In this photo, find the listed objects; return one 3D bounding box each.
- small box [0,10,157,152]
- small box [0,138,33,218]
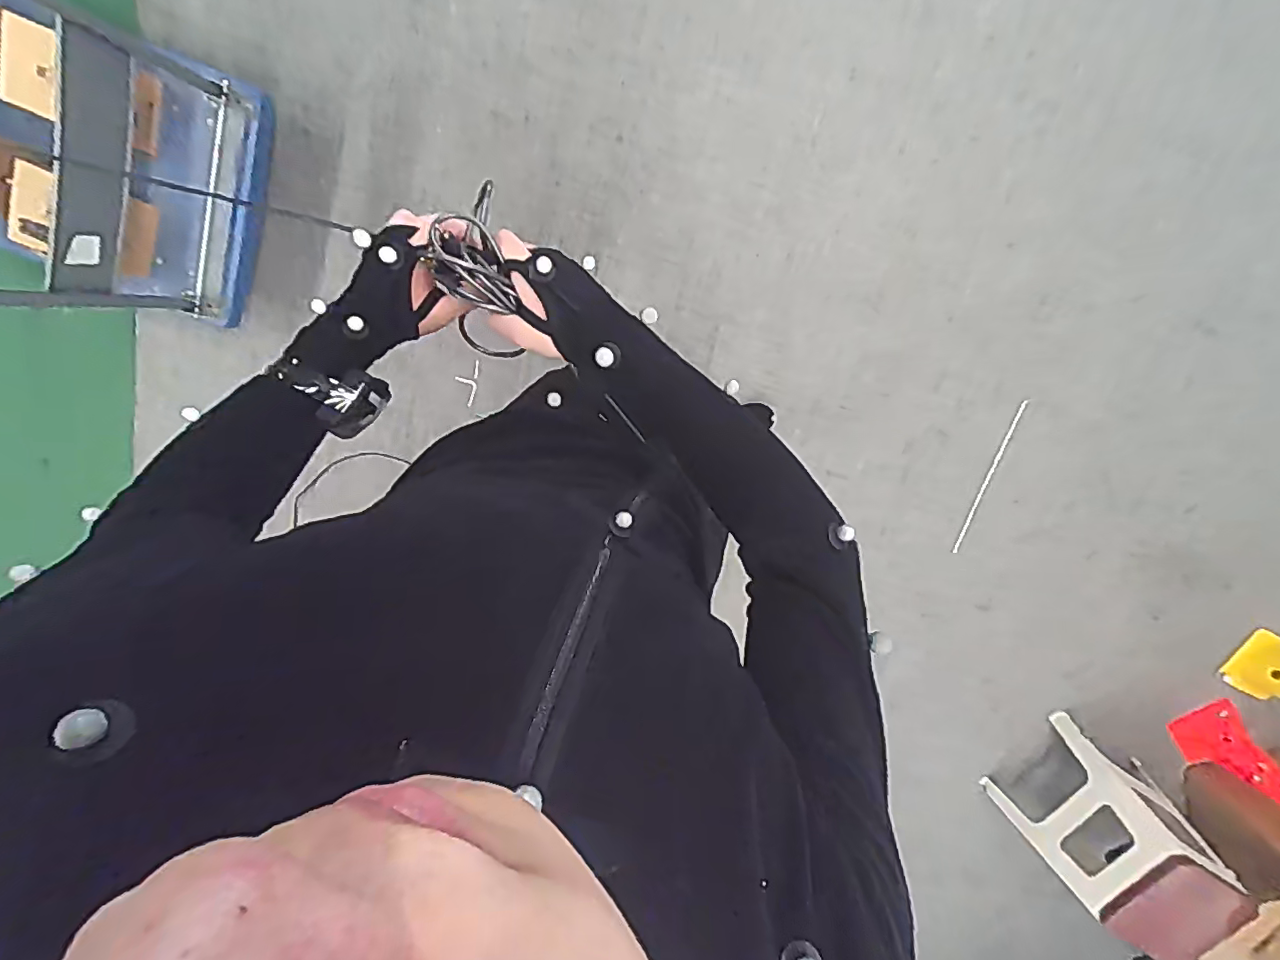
[{"bbox_3d":[-1.204,-0.839,1.159,0.179,0.176,0.168,21,106,-6],"label":"small box"},{"bbox_3d":[-1.527,-0.704,1.207,0.179,0.176,0.168,17,105,-3],"label":"small box"}]
